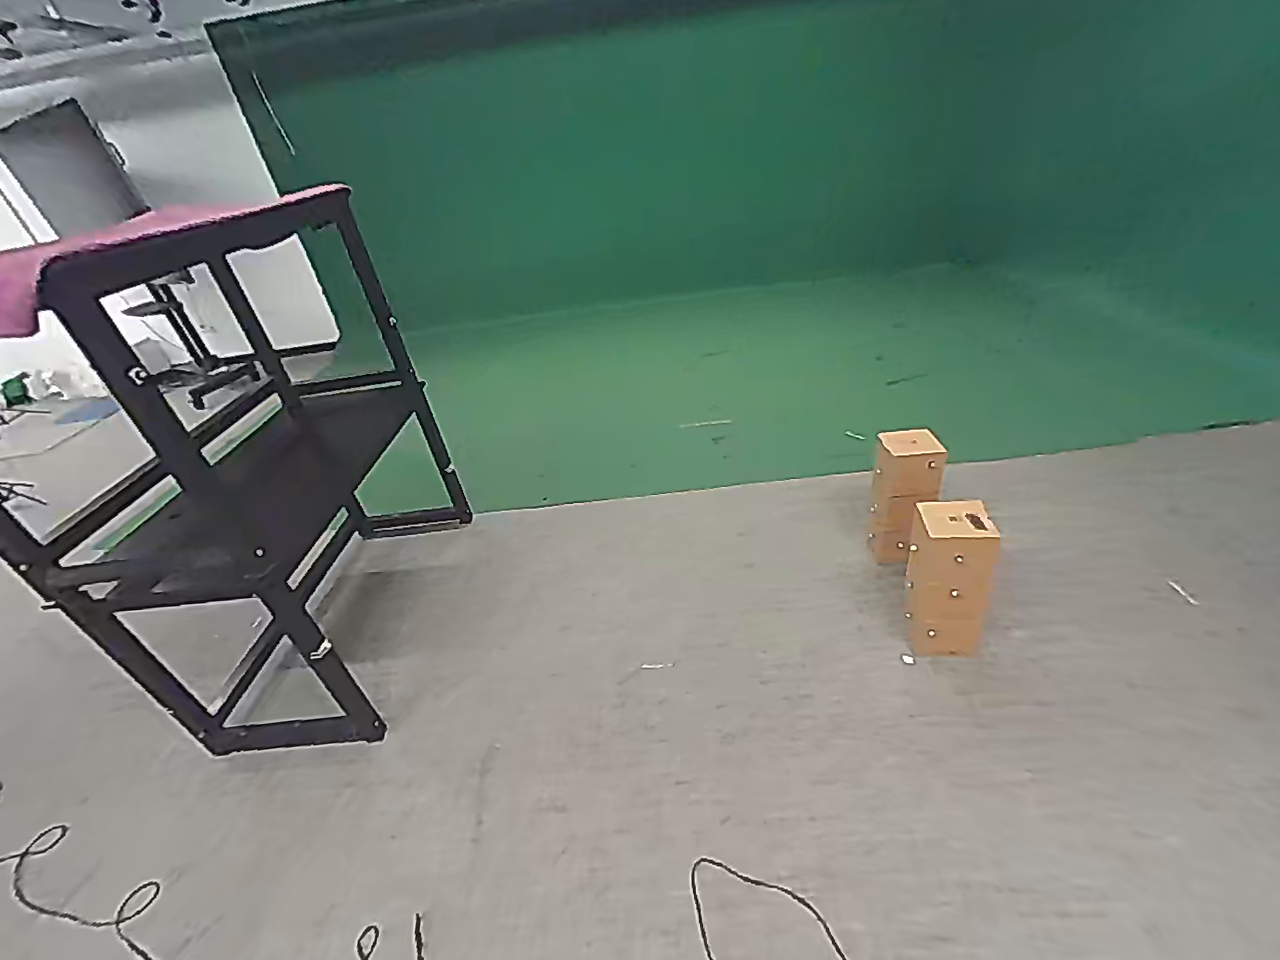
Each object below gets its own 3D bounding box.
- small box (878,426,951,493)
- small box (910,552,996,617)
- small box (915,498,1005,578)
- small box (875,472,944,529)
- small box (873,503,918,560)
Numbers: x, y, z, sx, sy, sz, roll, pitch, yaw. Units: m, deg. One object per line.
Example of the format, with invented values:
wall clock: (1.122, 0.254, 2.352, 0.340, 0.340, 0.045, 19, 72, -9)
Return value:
small box: (0.954, -0.071, 1.894, 0.179, 0.176, 0.168, -6, 32, 6)
small box: (0.943, 0.302, 1.644, 0.179, 0.176, 0.168, -3, 34, 12)
small box: (0.910, 0.168, 1.555, 0.179, 0.176, 0.168, -3, 34, 14)
small box: (0.981, 0.063, 1.987, 0.179, 0.176, 0.168, -7, 33, 6)
small box: (1.006, 0.195, 2.079, 0.179, 0.176, 0.168, -5, 34, 9)
